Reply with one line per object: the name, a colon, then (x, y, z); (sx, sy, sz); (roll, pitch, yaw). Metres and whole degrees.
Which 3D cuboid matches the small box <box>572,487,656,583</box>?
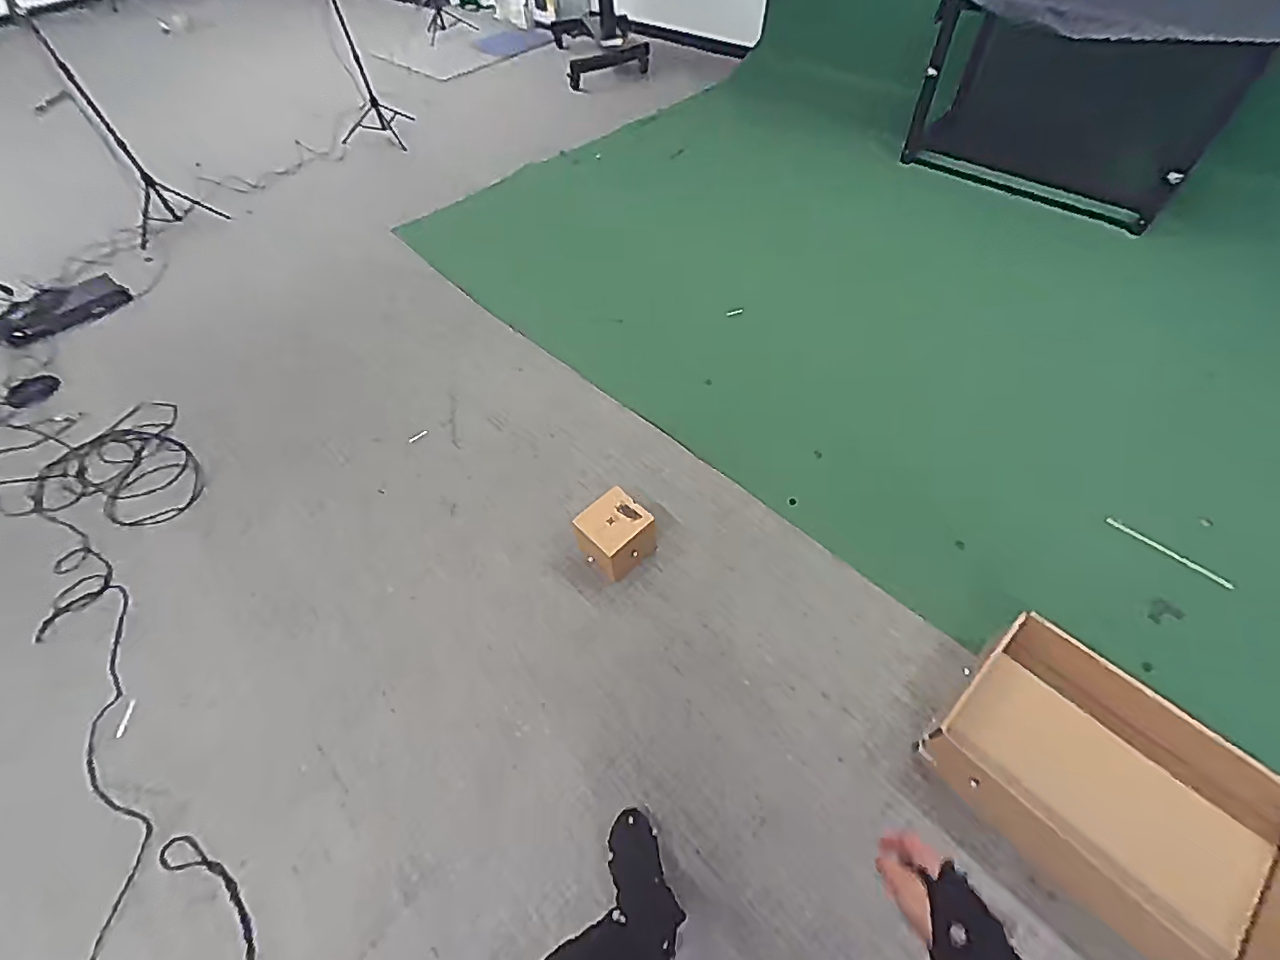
small box: (-0.071, 0.160, 1.557); (0.179, 0.176, 0.168); (-39, 61, -21)
